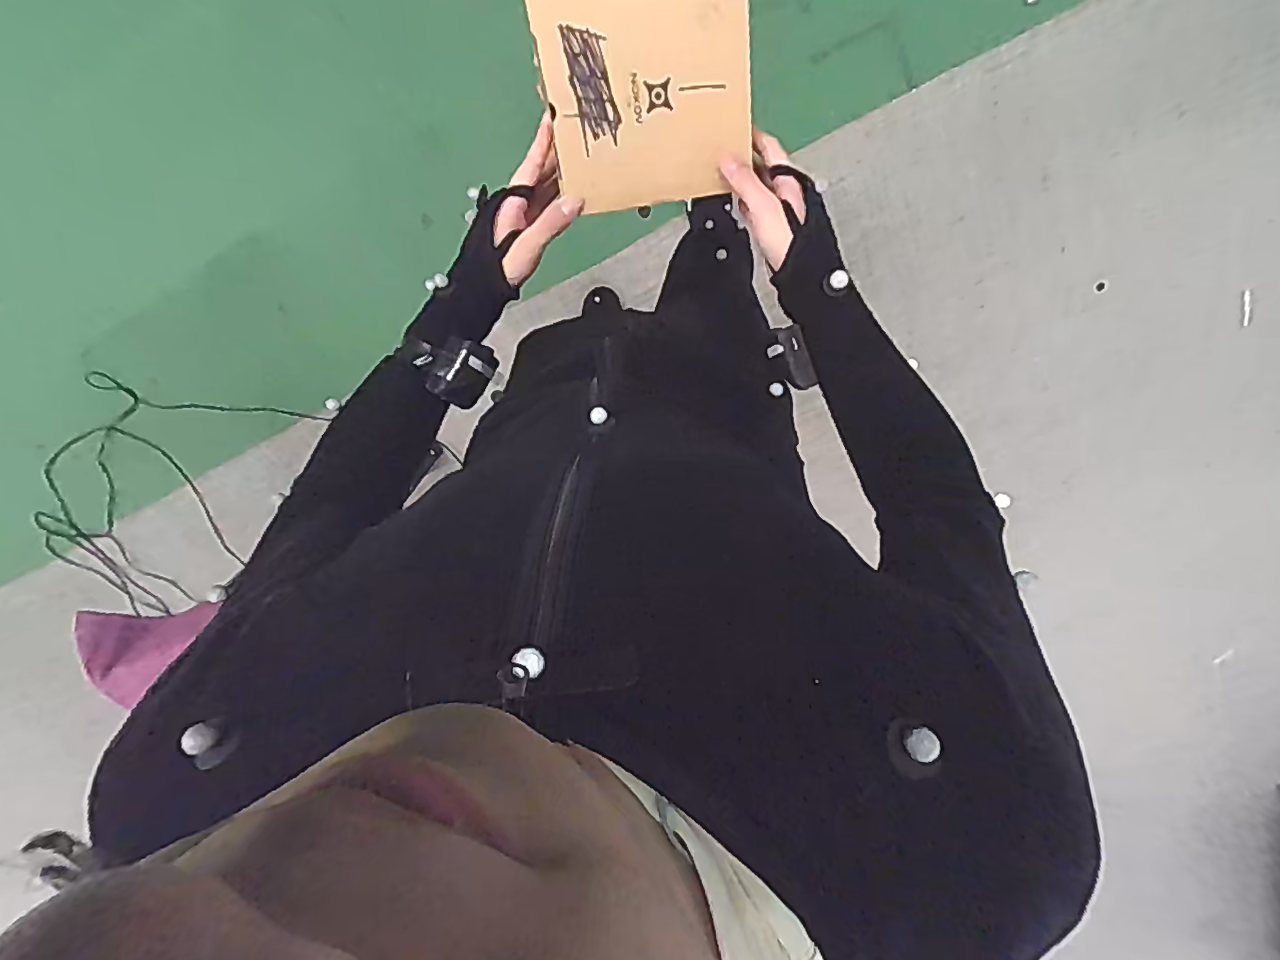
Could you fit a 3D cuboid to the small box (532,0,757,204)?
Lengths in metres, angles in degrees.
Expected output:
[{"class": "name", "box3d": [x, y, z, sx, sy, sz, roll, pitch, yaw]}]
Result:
[{"class": "small box", "box3d": [0.007, -0.372, 0.519, 0.179, 0.176, 0.168, -8, 122, 1]}]
